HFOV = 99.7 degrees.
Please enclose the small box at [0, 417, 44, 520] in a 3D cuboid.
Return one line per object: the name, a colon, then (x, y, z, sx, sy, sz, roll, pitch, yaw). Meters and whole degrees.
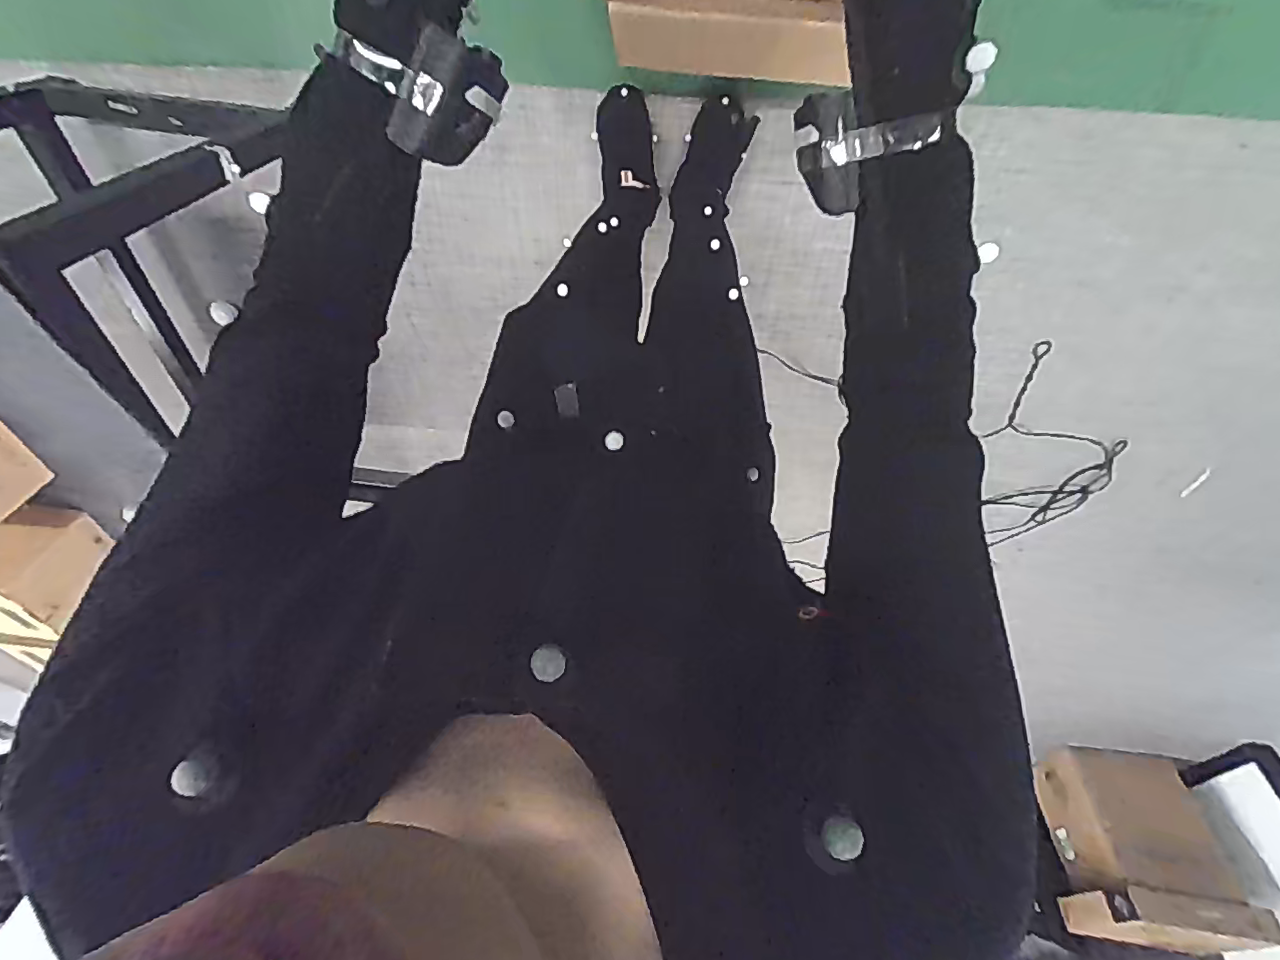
small box: (-1.039, -0.020, 0.775, 0.179, 0.176, 0.168, 7, 136, 2)
